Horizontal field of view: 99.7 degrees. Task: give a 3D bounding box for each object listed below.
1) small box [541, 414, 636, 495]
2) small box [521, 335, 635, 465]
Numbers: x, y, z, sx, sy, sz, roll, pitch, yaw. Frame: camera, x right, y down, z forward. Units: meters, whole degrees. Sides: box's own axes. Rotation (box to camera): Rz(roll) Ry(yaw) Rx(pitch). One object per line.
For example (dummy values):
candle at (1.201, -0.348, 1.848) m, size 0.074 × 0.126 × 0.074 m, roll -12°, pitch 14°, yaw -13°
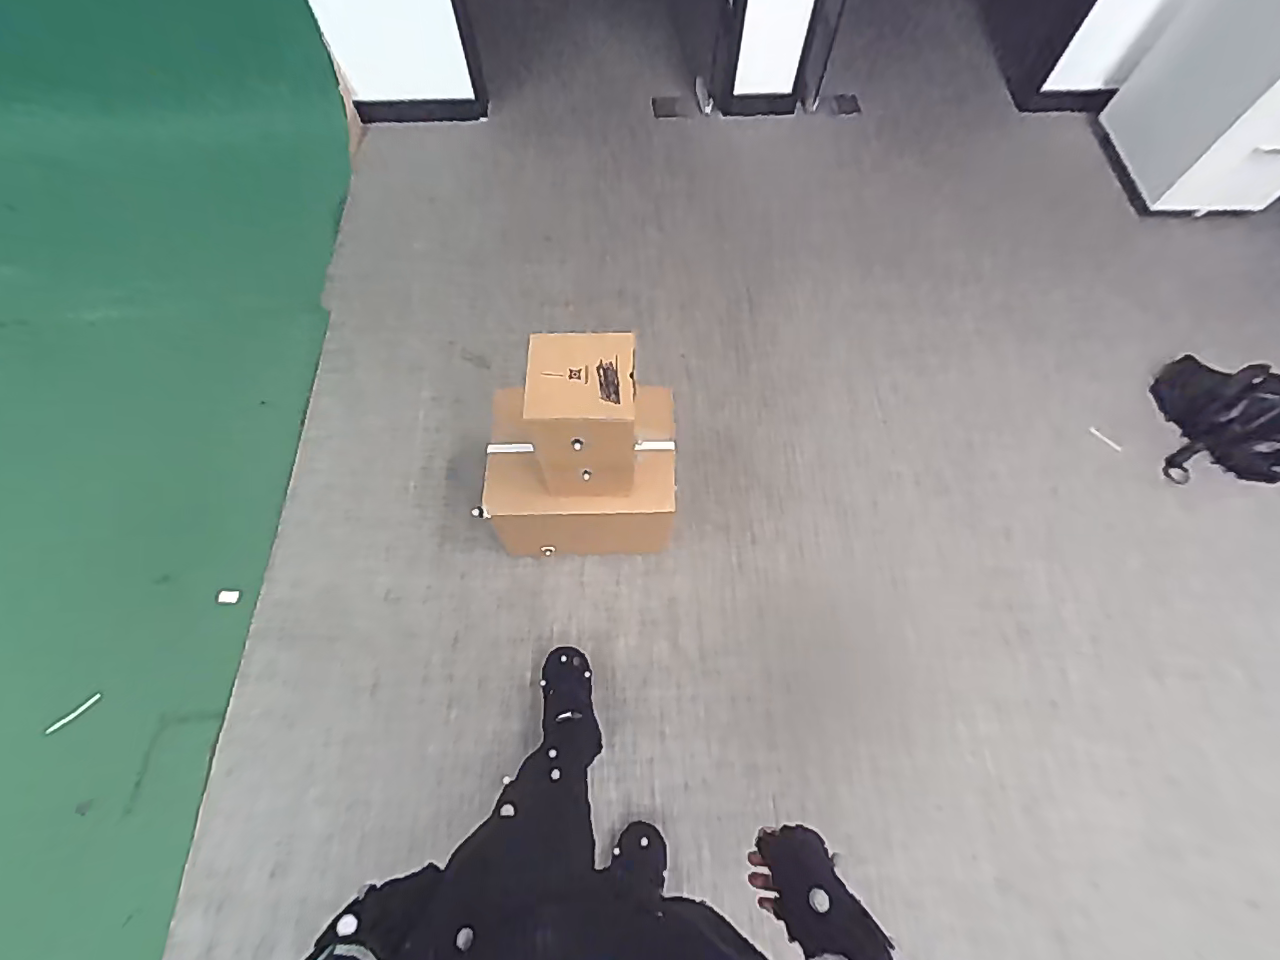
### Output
small box at (-0.097, -0.073, 1.090) m, size 0.179 × 0.176 × 0.168 m, roll -2°, pitch 68°, yaw -2°
small box at (-0.097, -0.133, 0.938) m, size 0.179 × 0.176 × 0.168 m, roll -1°, pitch 67°, yaw 1°
